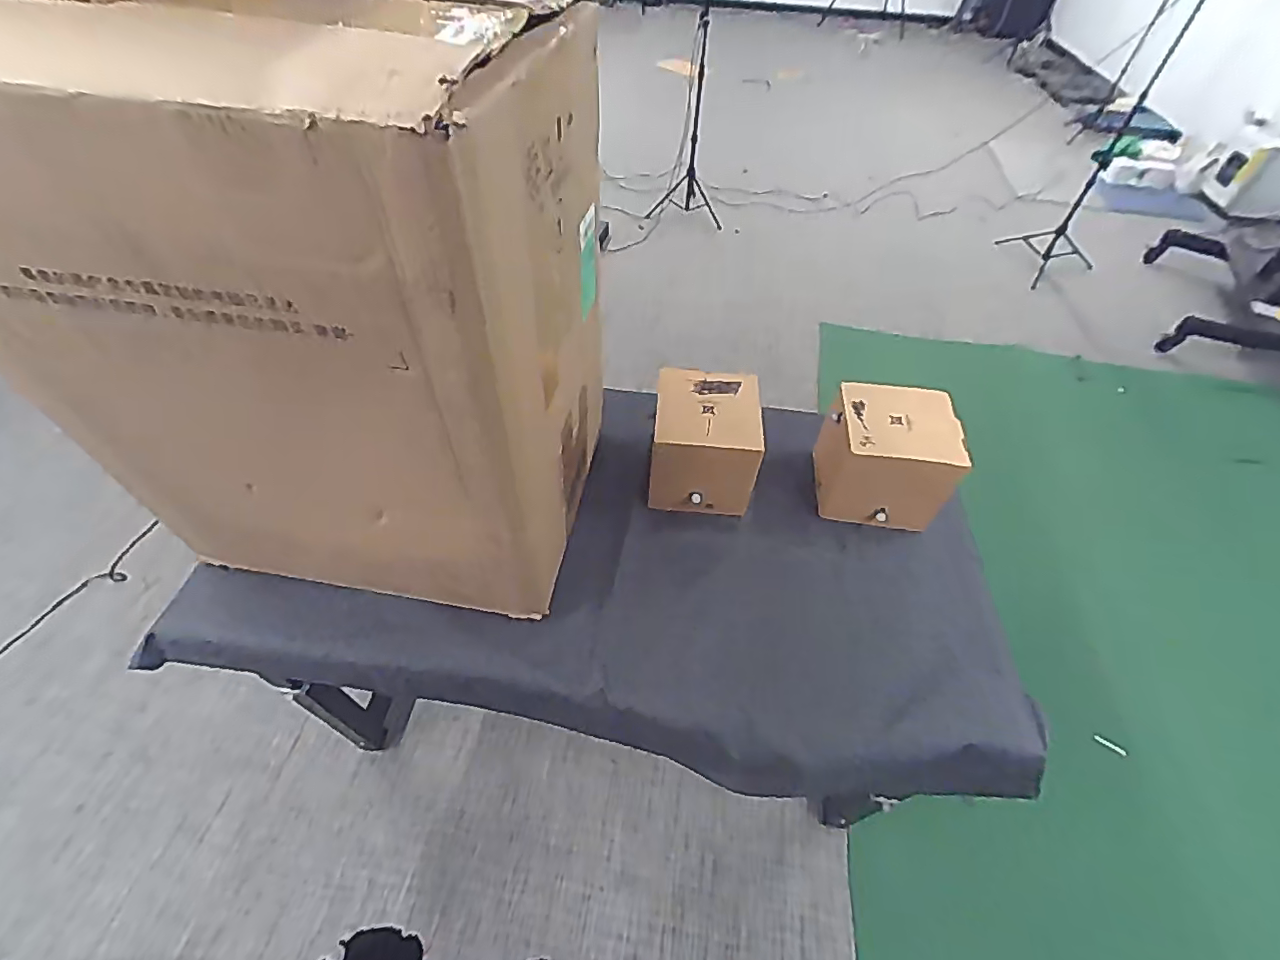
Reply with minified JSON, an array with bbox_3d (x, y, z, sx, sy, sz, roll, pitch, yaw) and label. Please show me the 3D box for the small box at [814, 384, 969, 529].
[{"bbox_3d":[0.408,-0.035,0.910,0.179,0.176,0.168,8,50,3],"label":"small box"}]
